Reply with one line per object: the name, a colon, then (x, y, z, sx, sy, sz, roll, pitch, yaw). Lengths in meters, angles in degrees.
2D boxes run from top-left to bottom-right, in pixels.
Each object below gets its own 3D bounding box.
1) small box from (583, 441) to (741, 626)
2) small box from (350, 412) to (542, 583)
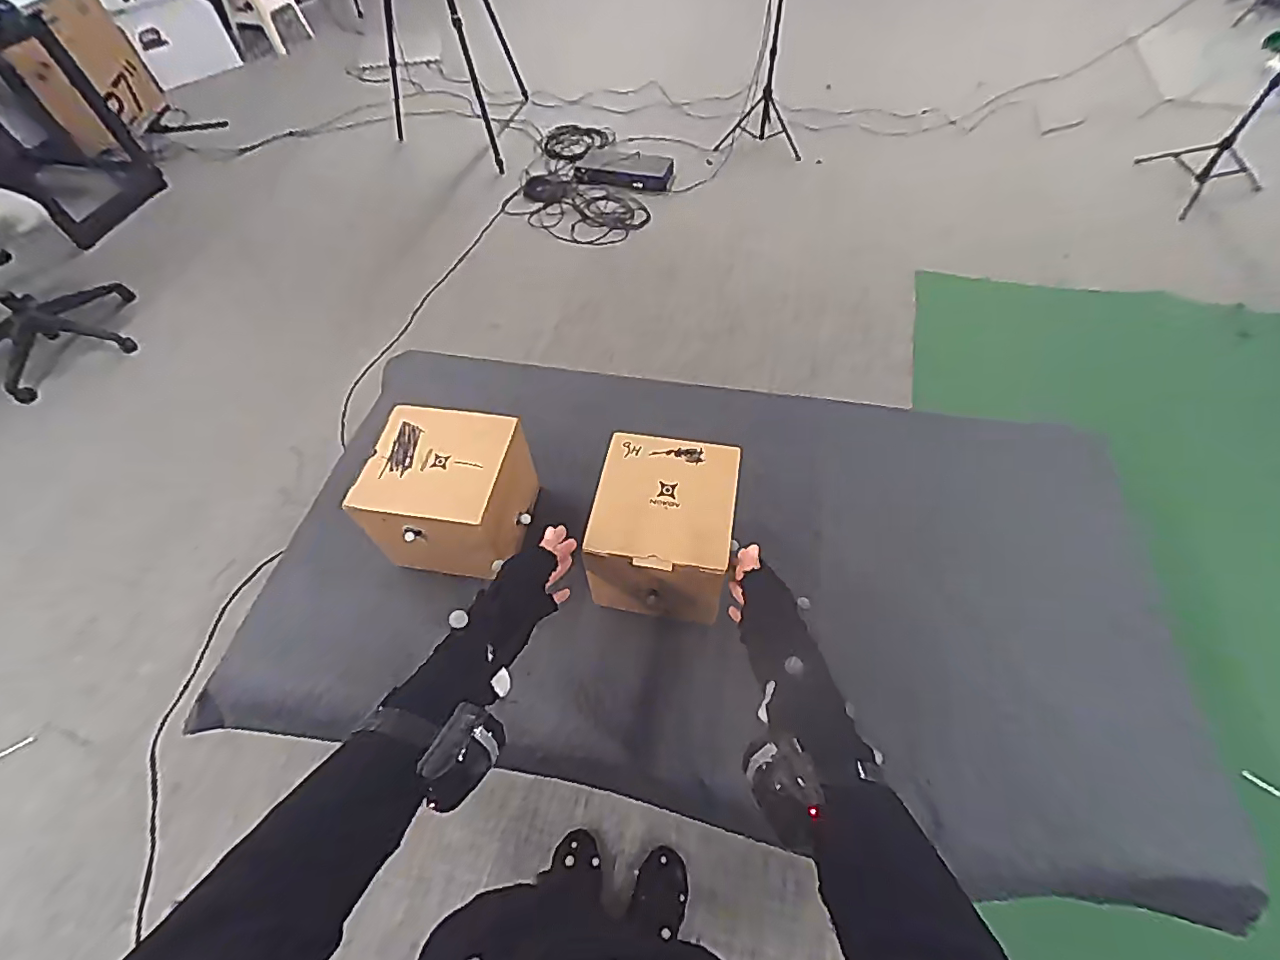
small box: (0.035, 0.075, 0.711, 0.168, 0.176, 0.179, 8, 57, 8)
small box: (-0.252, 0.029, 0.752, 0.179, 0.176, 0.168, 7, 57, 6)
